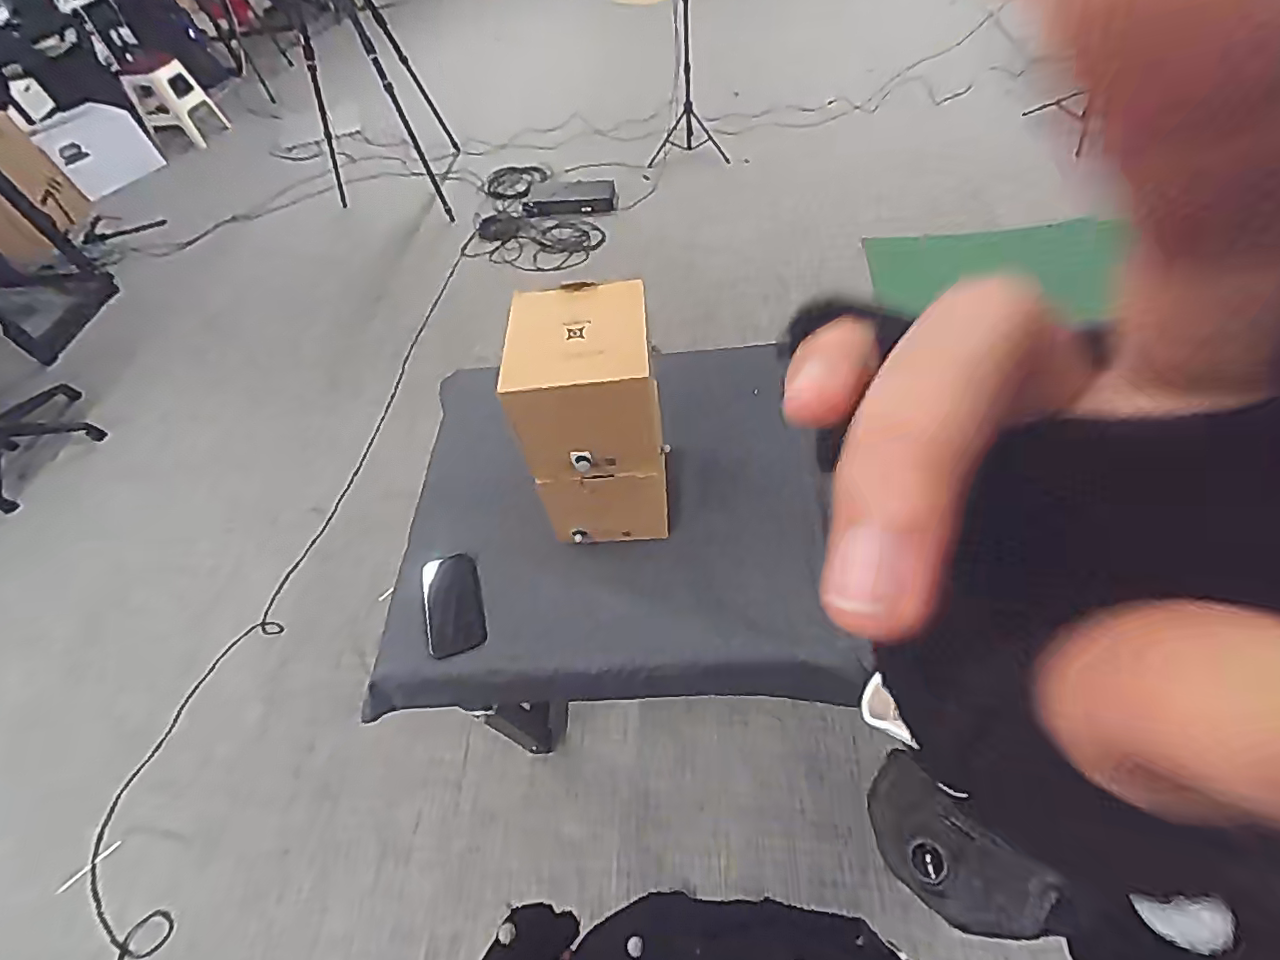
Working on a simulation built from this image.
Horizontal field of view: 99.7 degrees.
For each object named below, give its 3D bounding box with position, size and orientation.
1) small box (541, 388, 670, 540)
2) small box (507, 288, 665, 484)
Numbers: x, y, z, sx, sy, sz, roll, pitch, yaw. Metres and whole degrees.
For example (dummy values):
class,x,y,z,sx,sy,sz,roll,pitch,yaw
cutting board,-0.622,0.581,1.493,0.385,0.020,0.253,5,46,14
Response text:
class,x,y,z,sx,sy,sz,roll,pitch,yaw
small box,-0.043,-0.018,0.819,0.168,0.176,0.179,-4,53,4
small box,-0.059,-0.116,0.691,0.168,0.176,0.179,-6,54,3
